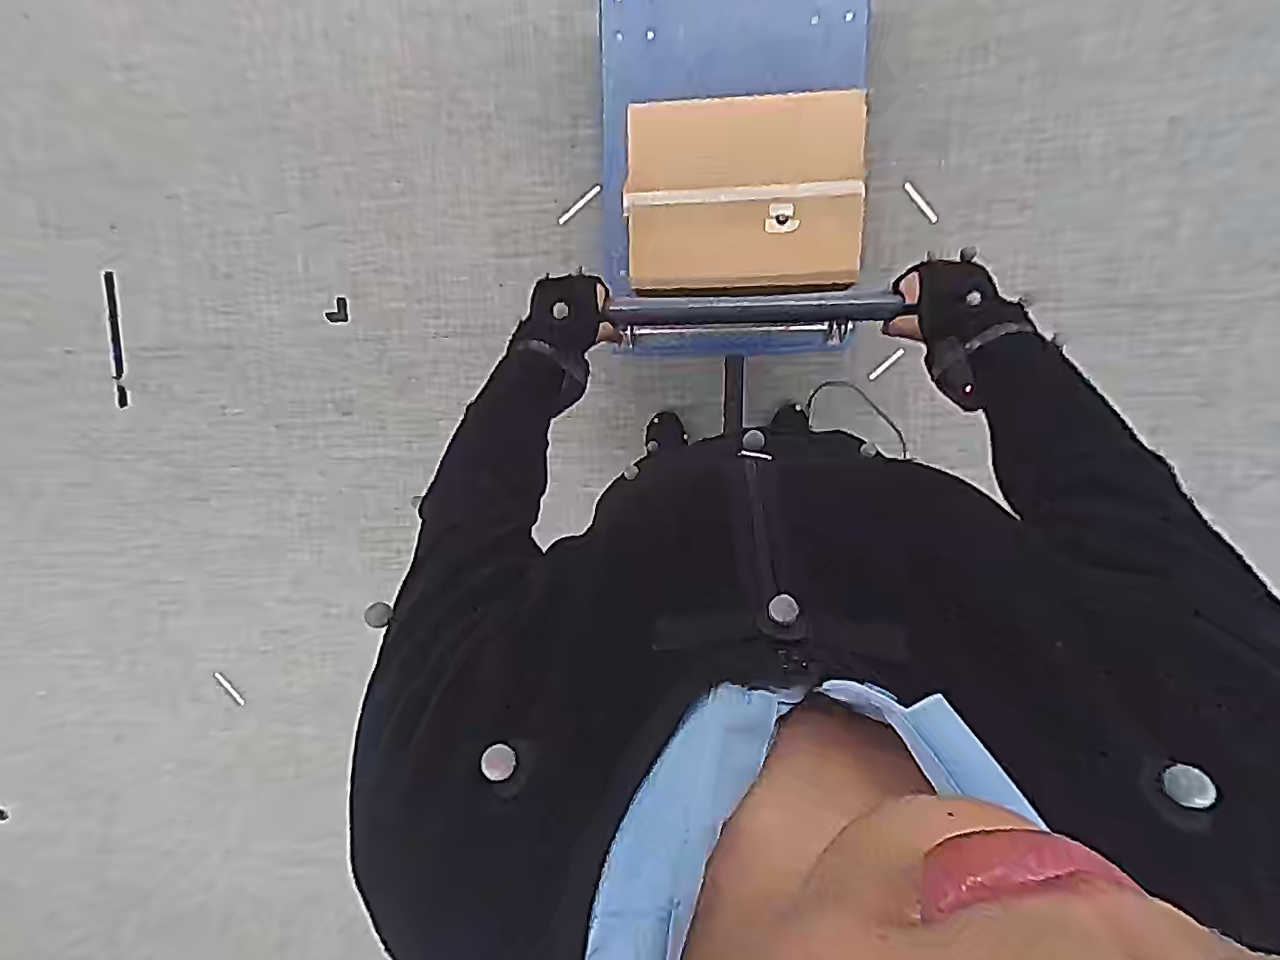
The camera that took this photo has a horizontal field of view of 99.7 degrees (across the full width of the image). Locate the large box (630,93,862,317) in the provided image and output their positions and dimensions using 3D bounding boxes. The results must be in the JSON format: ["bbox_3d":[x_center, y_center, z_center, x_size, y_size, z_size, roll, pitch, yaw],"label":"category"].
[{"bbox_3d":[0.196,-0.523,1.102,0.408,0.320,0.320,0,99,5],"label":"large box"}]
